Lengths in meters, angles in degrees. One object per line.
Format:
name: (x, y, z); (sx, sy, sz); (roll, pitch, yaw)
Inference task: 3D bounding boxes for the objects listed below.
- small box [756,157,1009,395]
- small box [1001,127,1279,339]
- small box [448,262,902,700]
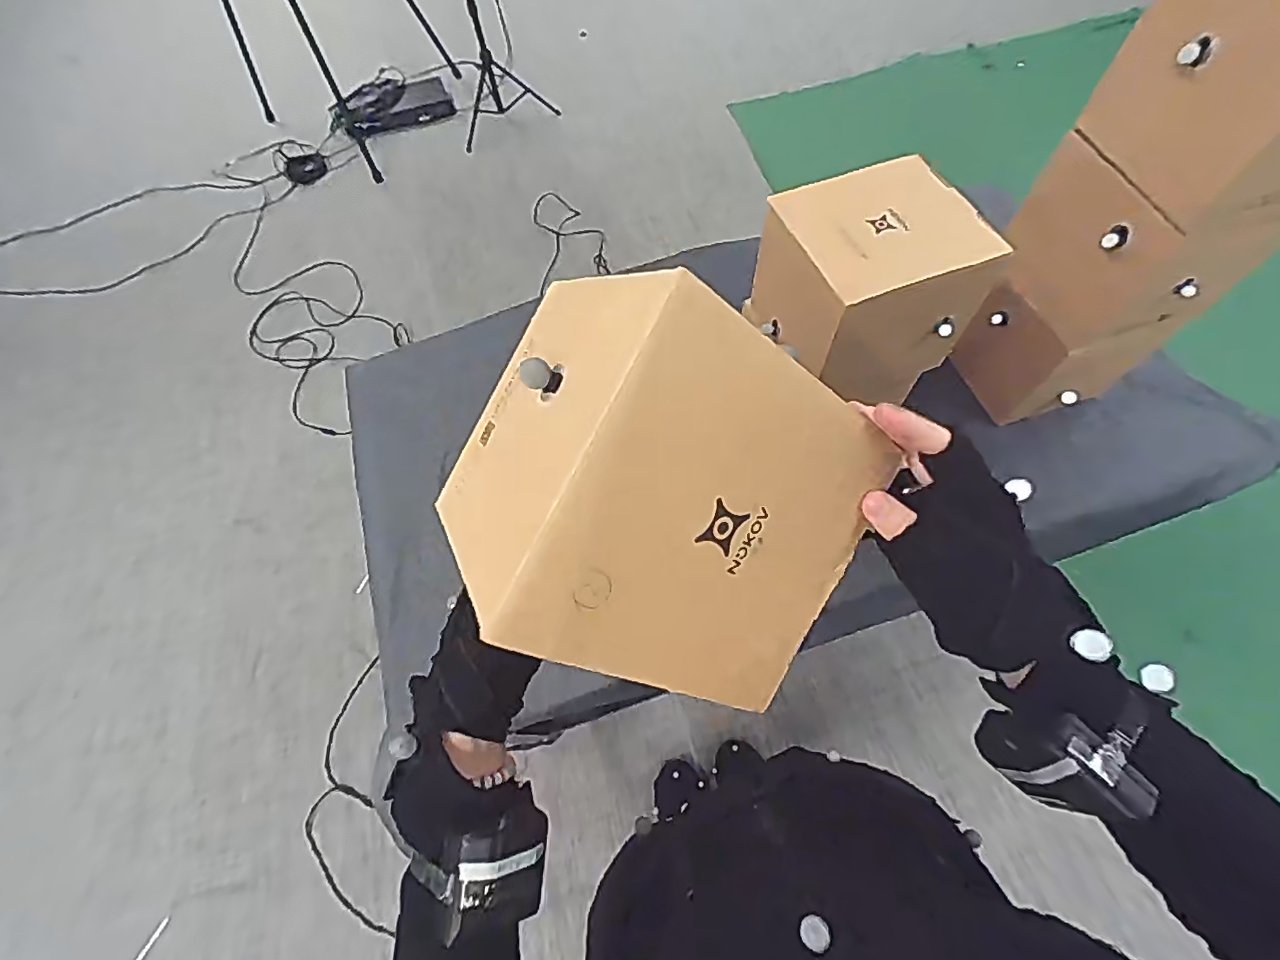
small box: (0.244, -0.212, 0.602); (0.179, 0.176, 0.168); (-19, 63, -5)
small box: (0.557, -0.281, 0.612); (0.168, 0.176, 0.179); (-15, 63, -3)
small box: (0.007, -0.002, 0.325); (0.168, 0.179, 0.176); (-61, 33, 1)
